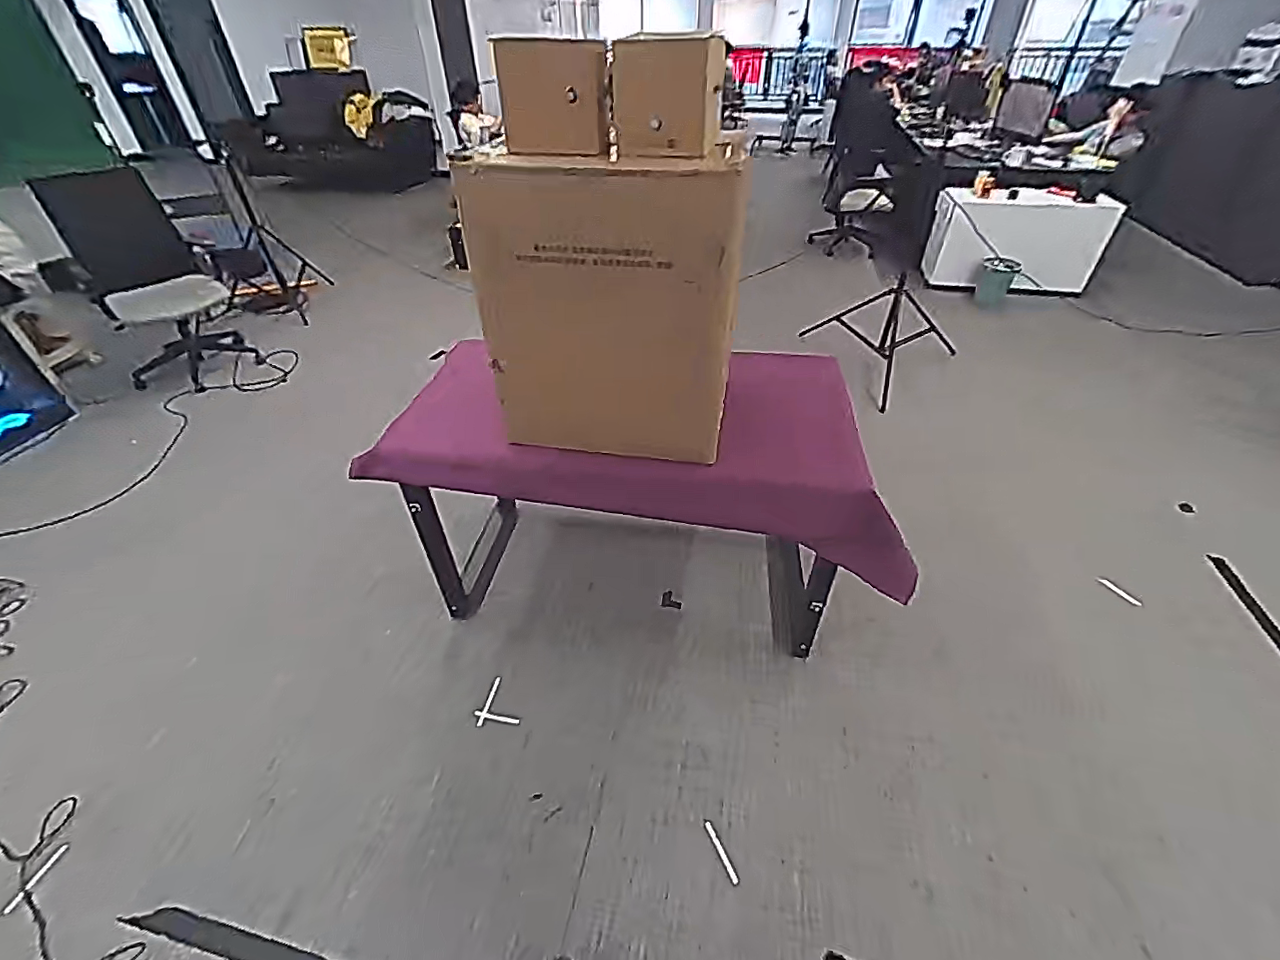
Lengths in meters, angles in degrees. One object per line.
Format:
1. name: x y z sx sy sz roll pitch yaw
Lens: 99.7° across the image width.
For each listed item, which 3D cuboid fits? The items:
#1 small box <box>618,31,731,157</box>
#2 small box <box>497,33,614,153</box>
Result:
1. small box: 0.064 -0.698 0.974 0.168 0.176 0.179 9 42 13
2. small box: -0.143 -0.712 0.996 0.179 0.176 0.168 3 39 4
